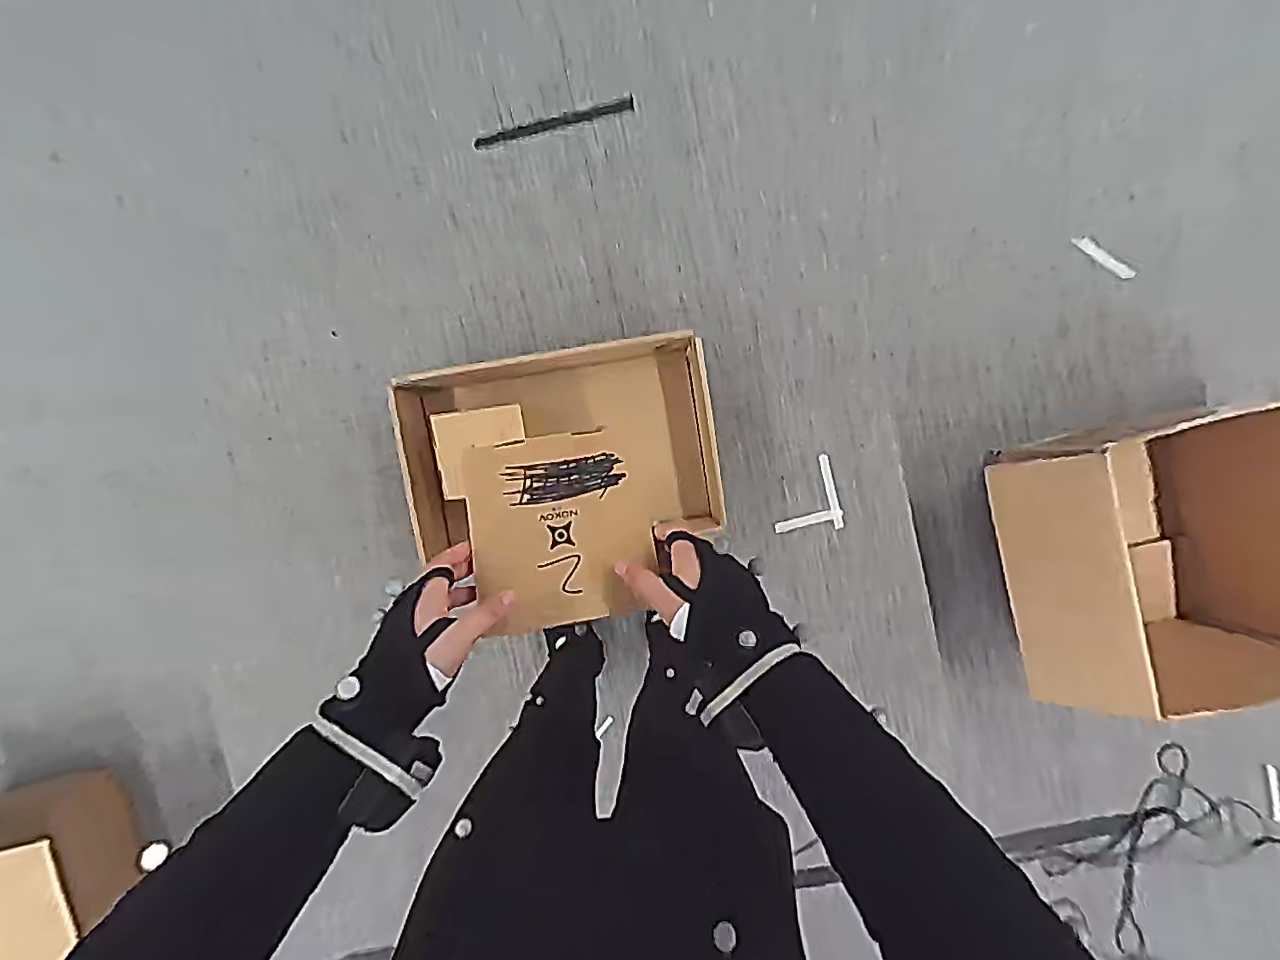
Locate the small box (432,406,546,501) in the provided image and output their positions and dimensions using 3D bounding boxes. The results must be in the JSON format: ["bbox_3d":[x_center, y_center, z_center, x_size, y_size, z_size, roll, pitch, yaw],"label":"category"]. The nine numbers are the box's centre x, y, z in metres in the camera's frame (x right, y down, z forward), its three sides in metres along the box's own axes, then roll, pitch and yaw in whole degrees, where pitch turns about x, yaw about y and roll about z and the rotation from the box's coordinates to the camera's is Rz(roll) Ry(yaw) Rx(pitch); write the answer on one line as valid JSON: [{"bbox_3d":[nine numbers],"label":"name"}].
[{"bbox_3d":[-0.304,-0.057,1.120,0.179,0.176,0.168,-9,96,-1],"label":"small box"}]
